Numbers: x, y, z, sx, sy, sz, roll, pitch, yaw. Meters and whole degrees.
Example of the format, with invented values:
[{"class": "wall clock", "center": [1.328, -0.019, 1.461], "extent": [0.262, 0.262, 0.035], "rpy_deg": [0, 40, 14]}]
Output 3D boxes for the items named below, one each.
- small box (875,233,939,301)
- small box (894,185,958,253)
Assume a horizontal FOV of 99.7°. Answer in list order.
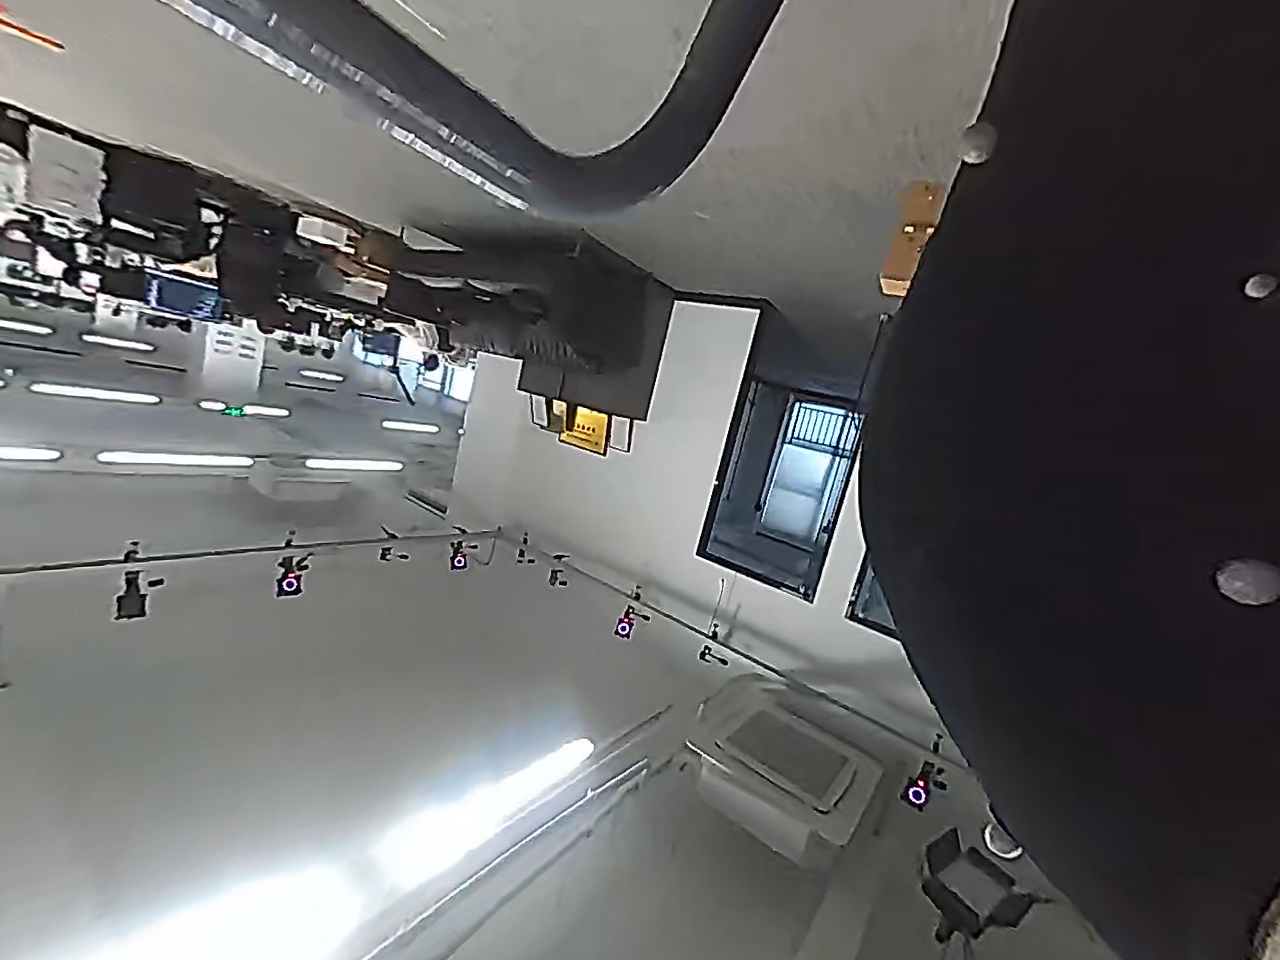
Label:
[{"class": "small box", "center": [0.955, -0.762, 1.934], "extent": [0.168, 0.176, 0.179], "rpy_deg": [19, -171, 26]}, {"class": "small box", "center": [0.999, -0.914, 1.906], "extent": [0.168, 0.176, 0.179], "rpy_deg": [15, -173, 21]}]
